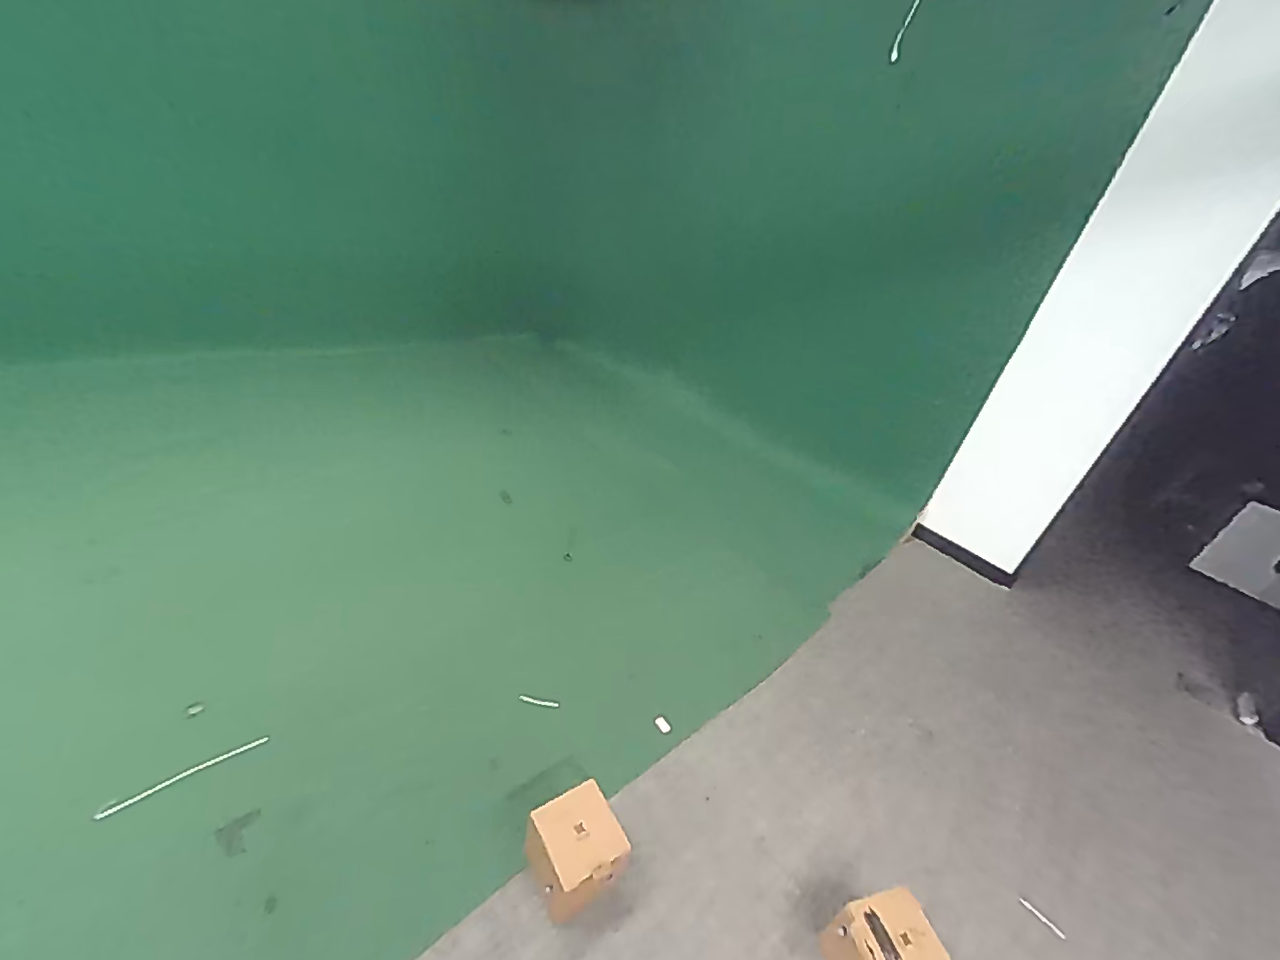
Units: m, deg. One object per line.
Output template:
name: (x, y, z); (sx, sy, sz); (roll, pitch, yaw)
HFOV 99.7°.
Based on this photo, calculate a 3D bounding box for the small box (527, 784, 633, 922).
small box: (-0.139, 0.836, 1.207); (0.168, 0.176, 0.179); (-11, 38, -35)
